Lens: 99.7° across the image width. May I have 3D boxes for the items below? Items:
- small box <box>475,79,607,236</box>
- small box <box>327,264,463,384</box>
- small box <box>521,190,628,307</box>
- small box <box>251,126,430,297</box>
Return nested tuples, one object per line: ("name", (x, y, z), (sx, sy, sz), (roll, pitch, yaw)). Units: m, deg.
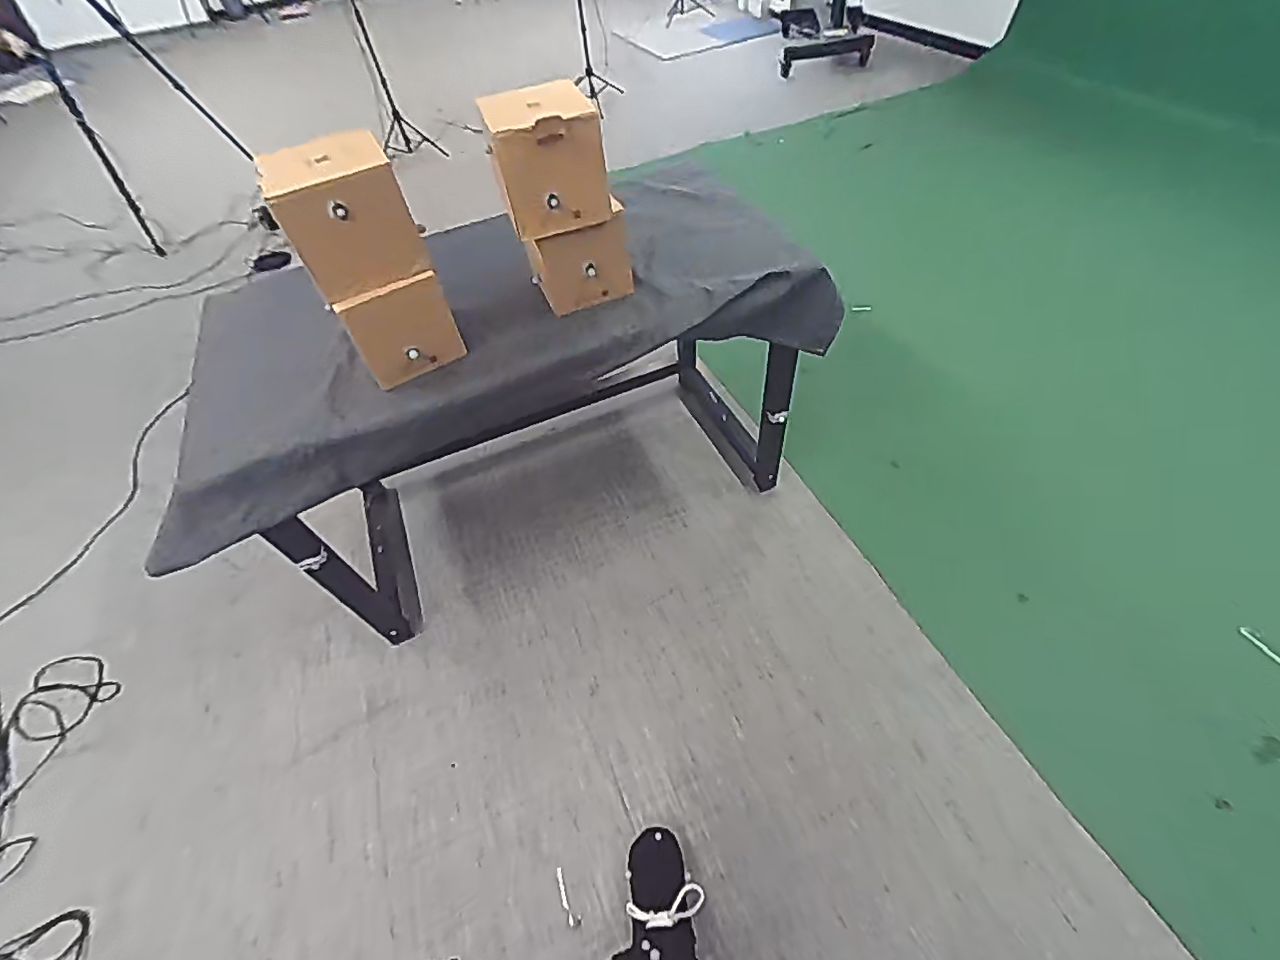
("small box", (-0.164, -0.542, 0.913), (0.168, 0.176, 0.179), (-19, 53, -9))
("small box", (-0.443, -0.303, 0.962), (0.168, 0.176, 0.179), (-30, 56, -17))
("small box", (-0.132, -0.459, 1.053), (0.168, 0.176, 0.179), (-21, 54, -10))
("small box", (-0.460, -0.415, 0.845), (0.179, 0.176, 0.168), (-26, 56, -15))
